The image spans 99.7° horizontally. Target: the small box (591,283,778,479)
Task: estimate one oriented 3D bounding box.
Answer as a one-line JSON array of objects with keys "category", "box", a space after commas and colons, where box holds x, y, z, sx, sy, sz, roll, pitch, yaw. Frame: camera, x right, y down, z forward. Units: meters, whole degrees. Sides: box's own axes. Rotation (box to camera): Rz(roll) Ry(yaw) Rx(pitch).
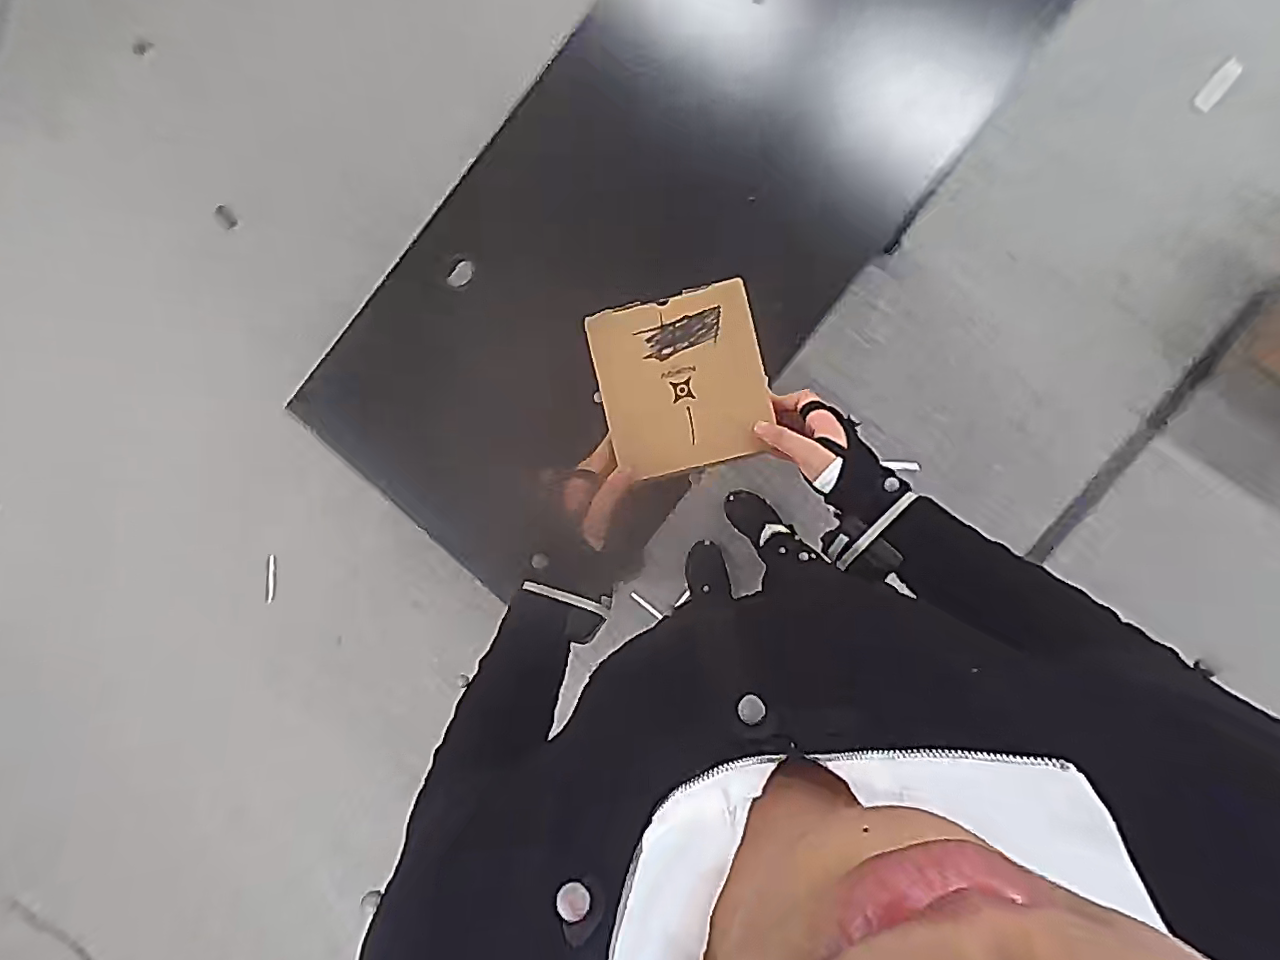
[{"category": "small box", "box": [0.048, -0.099, 0.626, 0.168, 0.176, 0.179, -12, 90, 5]}]
